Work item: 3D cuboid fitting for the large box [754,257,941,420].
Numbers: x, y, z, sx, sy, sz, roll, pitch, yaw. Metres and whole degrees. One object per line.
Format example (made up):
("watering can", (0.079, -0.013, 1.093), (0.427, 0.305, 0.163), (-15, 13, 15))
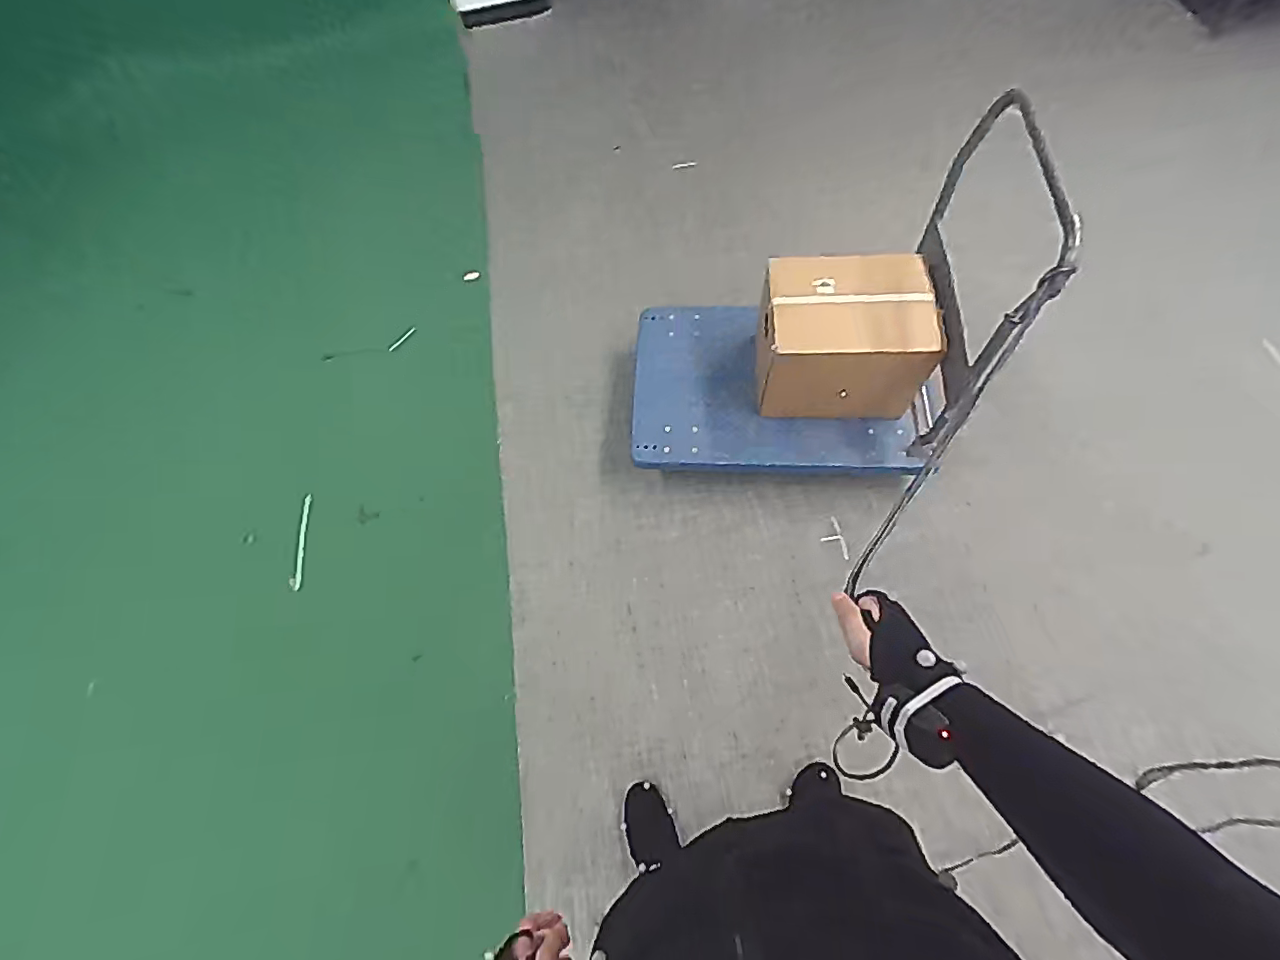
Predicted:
("large box", (0.535, -0.373, 1.485), (0.408, 0.320, 0.320), (0, 65, 6))
